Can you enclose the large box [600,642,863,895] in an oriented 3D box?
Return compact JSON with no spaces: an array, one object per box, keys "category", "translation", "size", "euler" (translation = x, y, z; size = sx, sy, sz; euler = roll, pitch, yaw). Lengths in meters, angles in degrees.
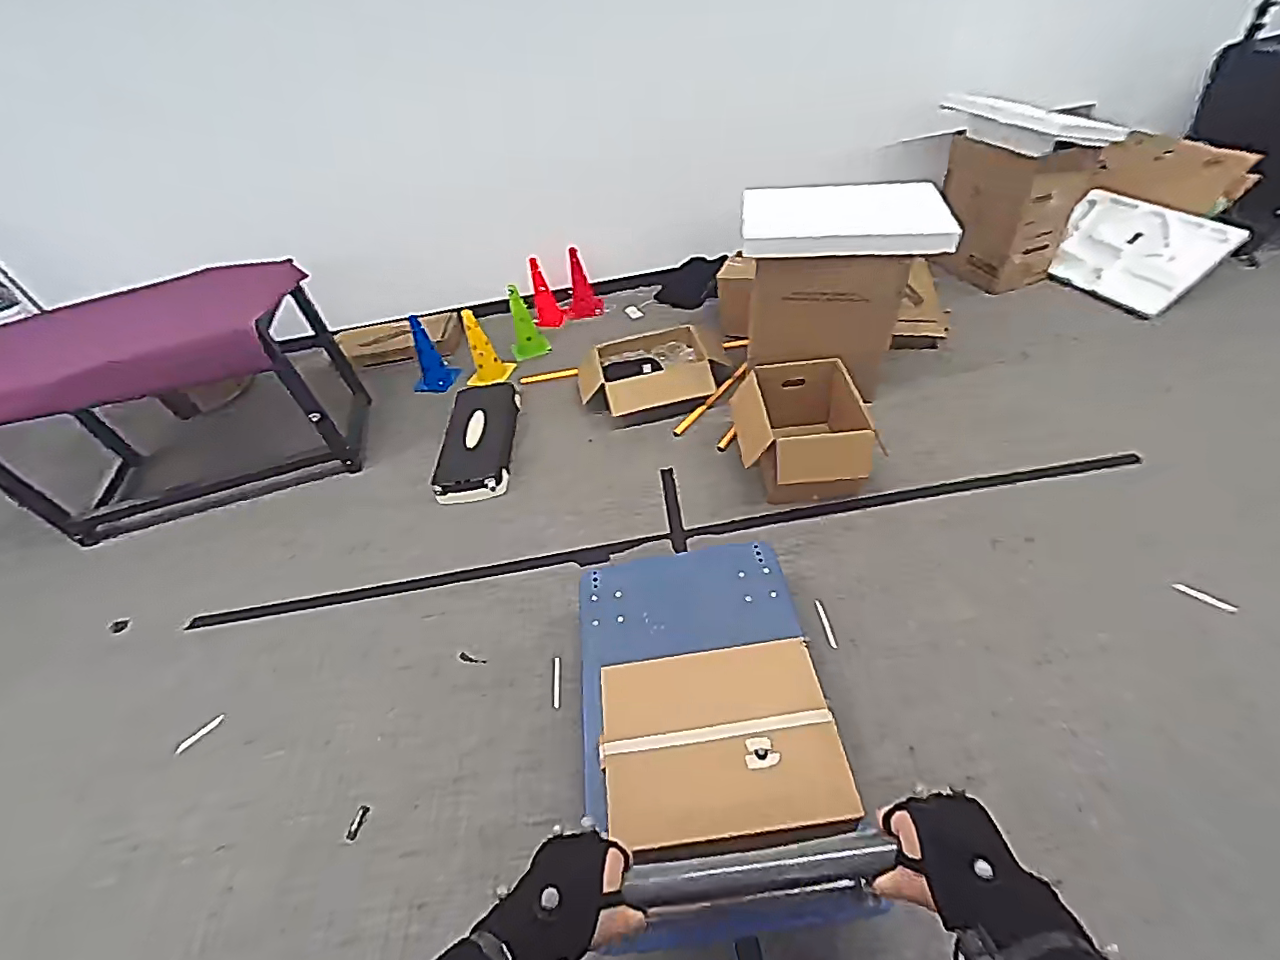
[{"category":"large box","translation":[0.151,0.556,1.043],"size":[0.408,0.320,0.320],"euler":[-9,45,0]}]
